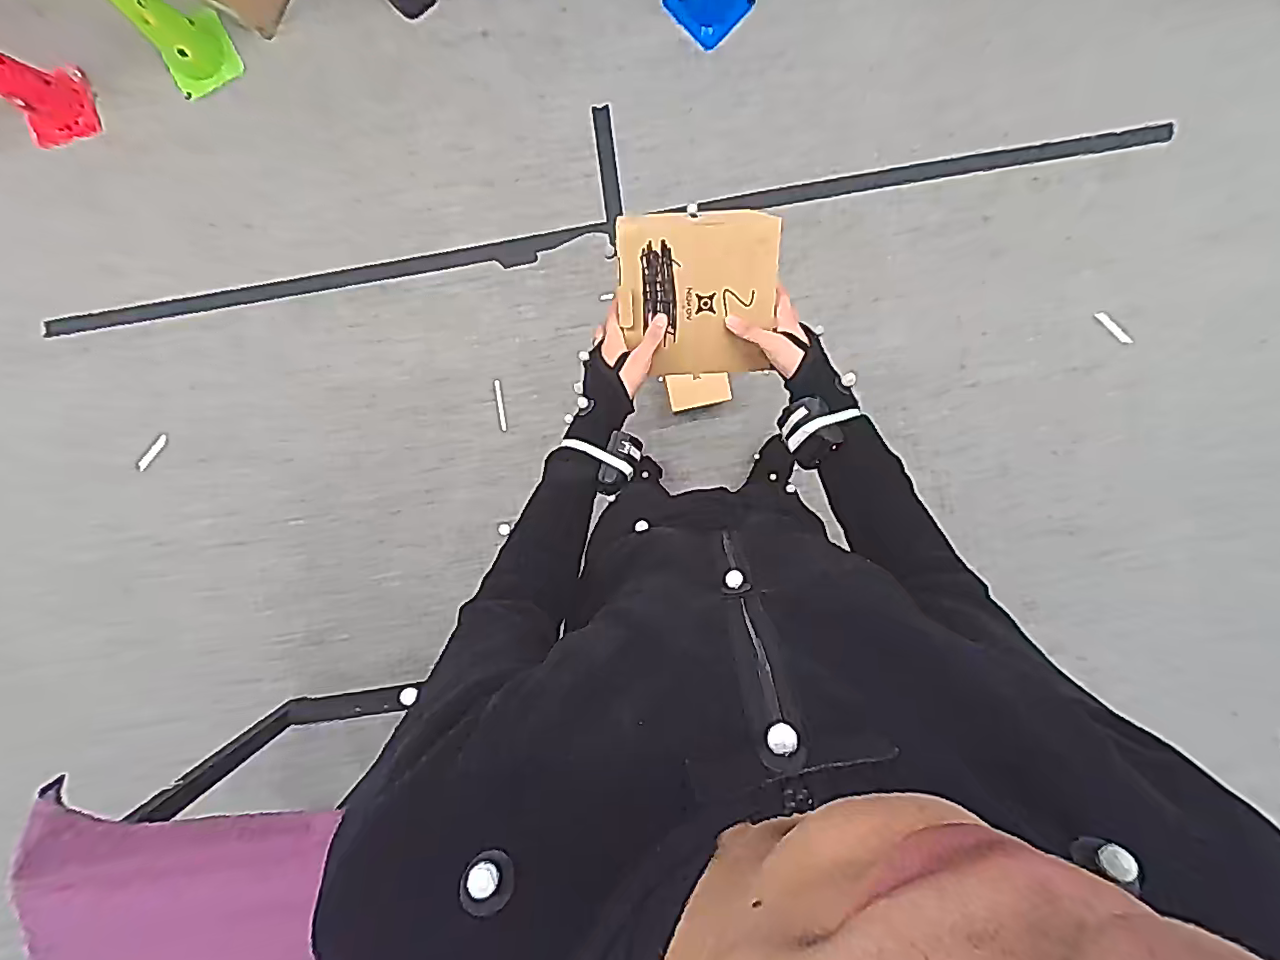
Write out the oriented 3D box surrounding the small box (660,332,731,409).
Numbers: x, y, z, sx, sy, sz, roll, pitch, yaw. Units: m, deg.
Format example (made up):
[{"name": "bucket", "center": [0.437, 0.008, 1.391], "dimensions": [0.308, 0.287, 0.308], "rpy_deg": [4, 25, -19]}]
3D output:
[{"name": "small box", "center": [0.152, -0.300, 1.519], "dimensions": [0.168, 0.176, 0.179], "rpy_deg": [-12, 94, 2]}]
